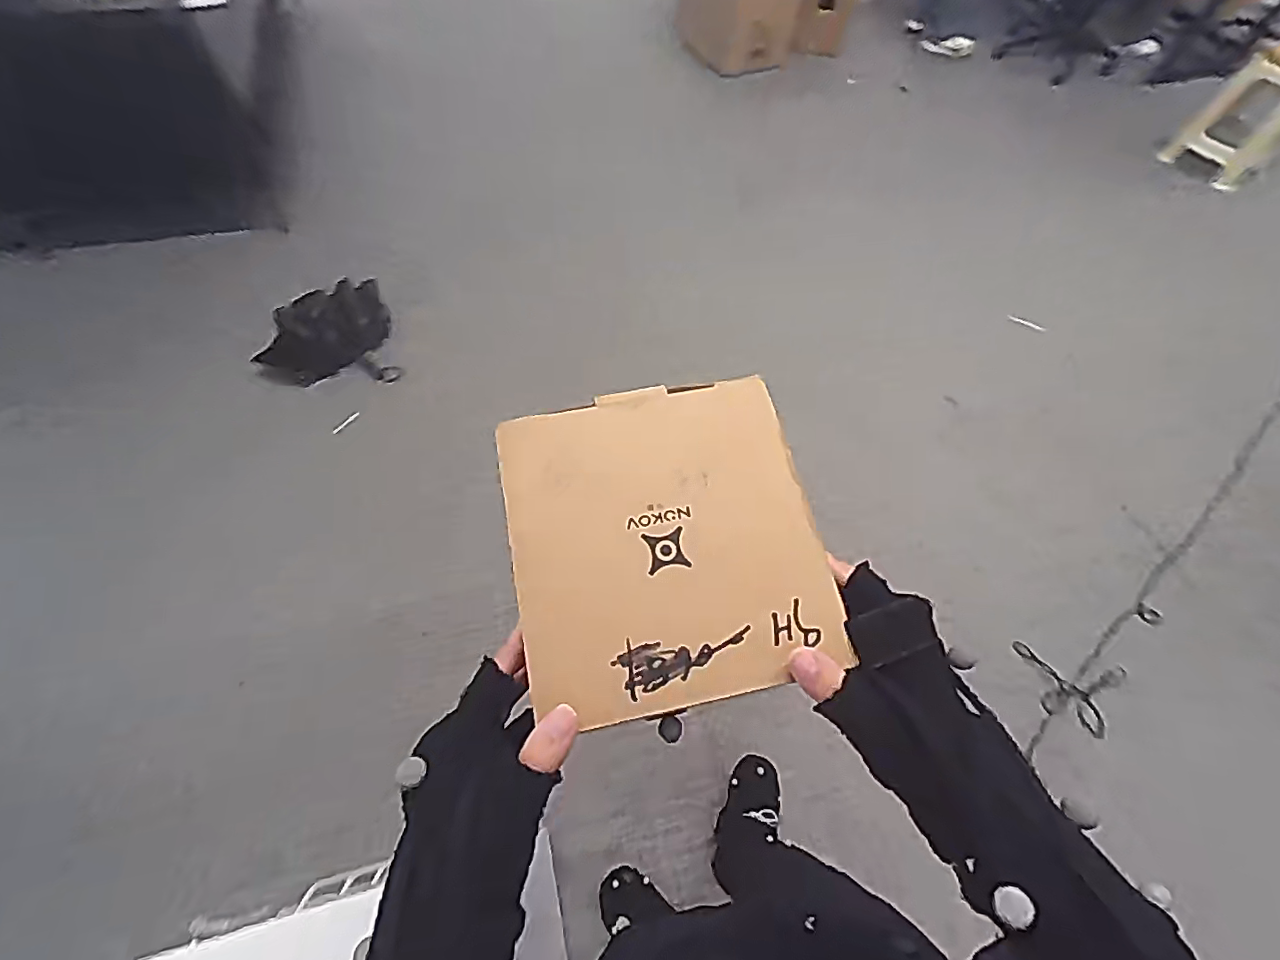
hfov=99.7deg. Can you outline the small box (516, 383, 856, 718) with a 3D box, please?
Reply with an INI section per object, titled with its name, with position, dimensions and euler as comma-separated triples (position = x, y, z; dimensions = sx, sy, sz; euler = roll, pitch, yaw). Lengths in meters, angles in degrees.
[small box]
position = 0.017, 0.060, 0.378
dimensions = 0.168, 0.176, 0.179
euler = -10, 68, -4
